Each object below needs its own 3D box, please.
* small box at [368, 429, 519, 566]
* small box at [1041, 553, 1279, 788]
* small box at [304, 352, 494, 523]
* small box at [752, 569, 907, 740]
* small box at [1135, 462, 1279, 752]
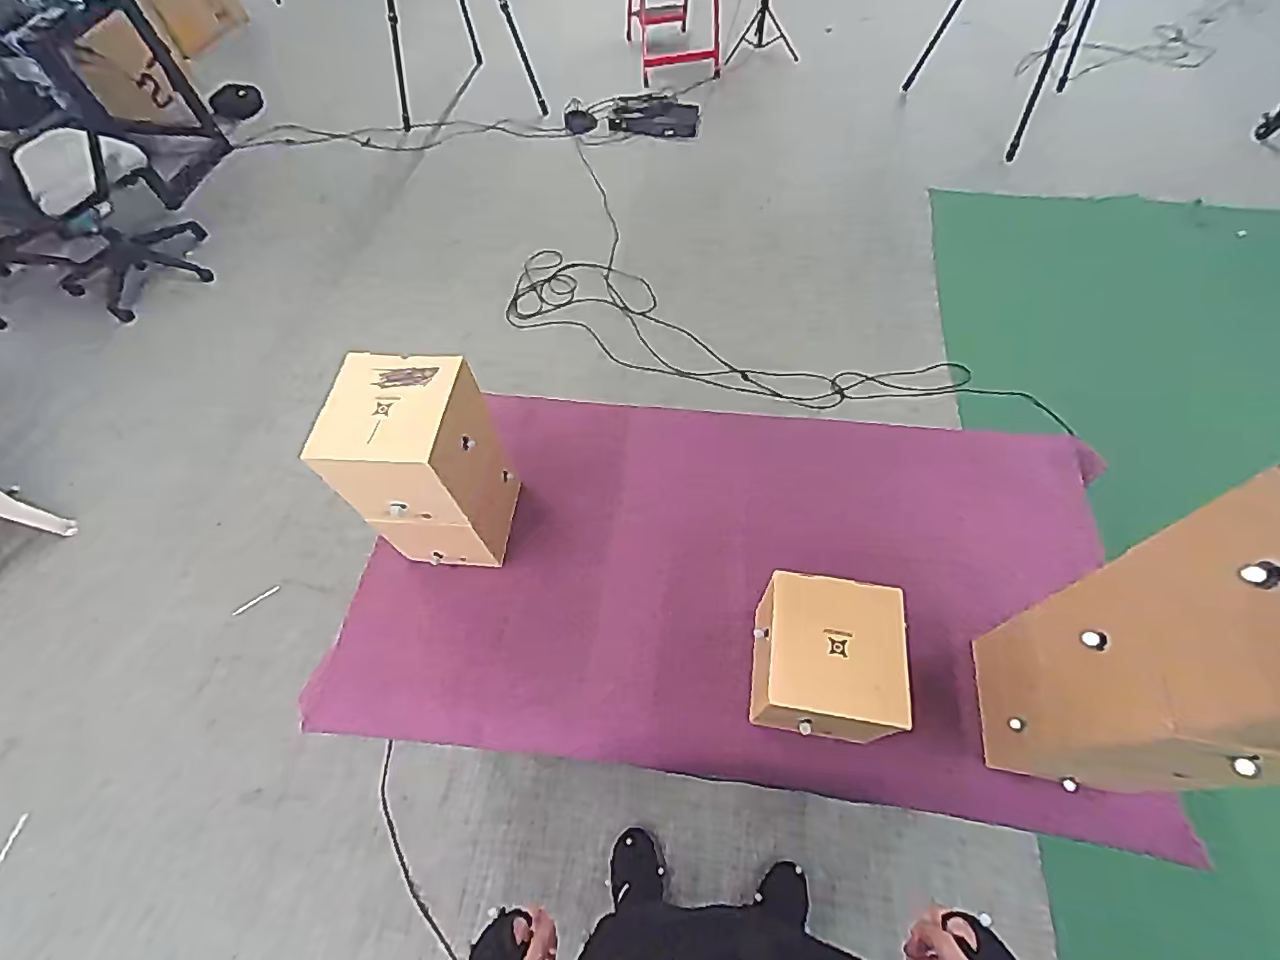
[{"bbox_3d":[-0.312,0.027,0.904,0.168,0.176,0.179,3,60,6],"label":"small box"},{"bbox_3d":[0.554,0.199,0.558,0.168,0.176,0.179,8,59,10],"label":"small box"},{"bbox_3d":[-0.319,-0.057,0.764,0.168,0.176,0.179,3,60,6],"label":"small box"},{"bbox_3d":[0.249,0.245,0.743,0.168,0.176,0.179,7,58,8],"label":"small box"},{"bbox_3d":[0.544,0.110,0.419,0.168,0.176,0.179,8,60,9],"label":"small box"}]
